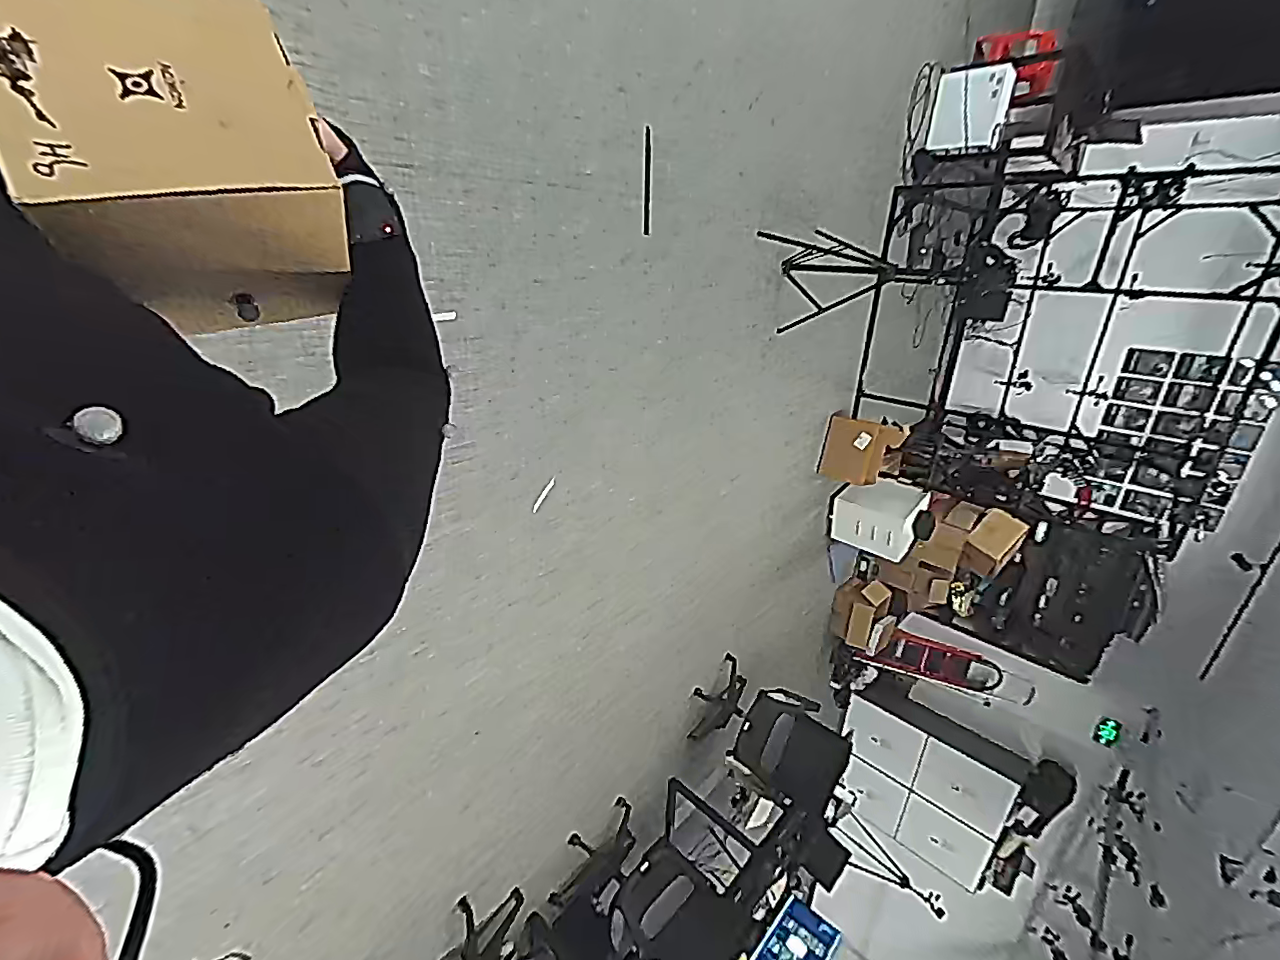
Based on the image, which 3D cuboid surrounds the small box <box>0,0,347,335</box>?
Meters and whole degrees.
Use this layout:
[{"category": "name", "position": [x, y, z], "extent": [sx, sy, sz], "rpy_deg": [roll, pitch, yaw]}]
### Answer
[{"category": "small box", "position": [-0.359, -0.242, 0.443], "extent": [0.179, 0.176, 0.168], "rpy_deg": [-21, 84, -29]}]
